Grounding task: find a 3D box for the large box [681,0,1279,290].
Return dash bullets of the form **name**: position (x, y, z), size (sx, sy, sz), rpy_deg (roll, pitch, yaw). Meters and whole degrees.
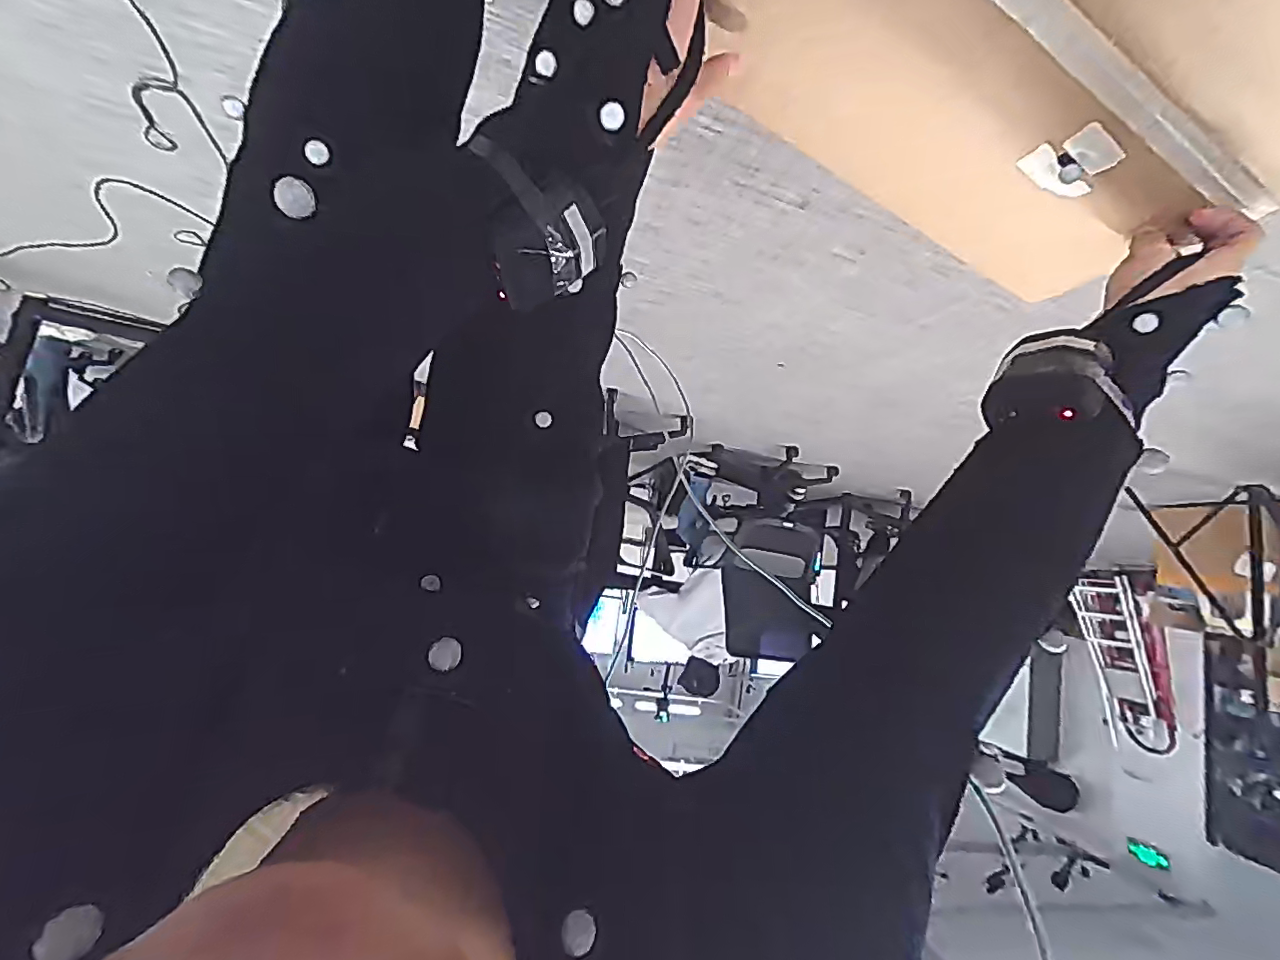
- **large box**: position (0.292, -0.396, 0.346), size (0.408, 0.320, 0.320), rpy_deg (17, 168, -20)
